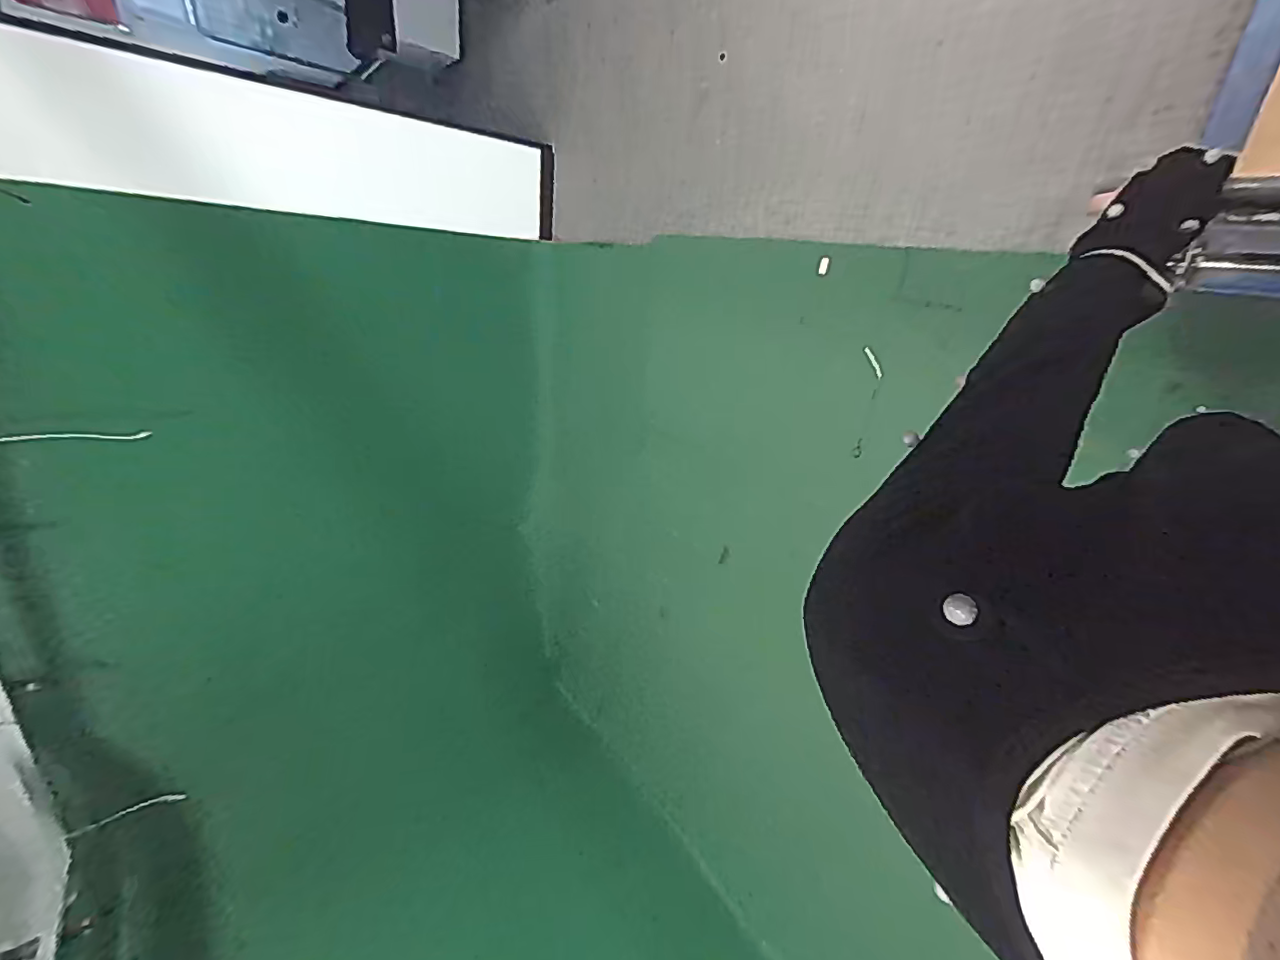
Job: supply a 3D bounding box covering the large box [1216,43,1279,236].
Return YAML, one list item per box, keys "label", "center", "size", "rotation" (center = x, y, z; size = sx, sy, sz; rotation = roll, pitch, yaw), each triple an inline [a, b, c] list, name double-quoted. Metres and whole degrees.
- label: "large box"
  center: [1.070, -0.555, 0.704]
  size: [0.320, 0.320, 0.408]
  rotation: [29, 119, 45]
